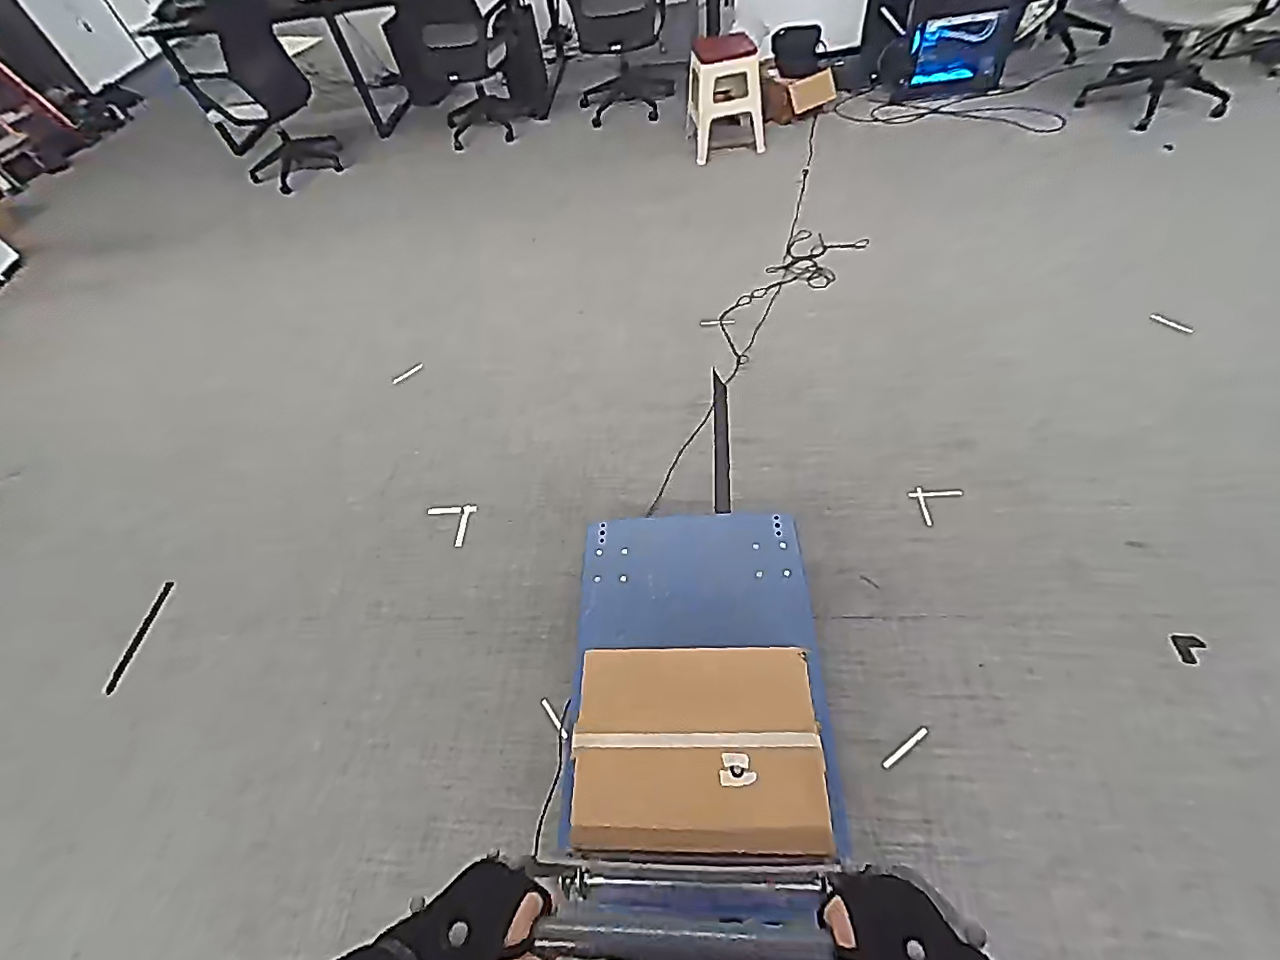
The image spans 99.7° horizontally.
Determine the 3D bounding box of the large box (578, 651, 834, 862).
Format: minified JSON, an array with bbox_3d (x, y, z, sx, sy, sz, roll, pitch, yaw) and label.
[{"bbox_3d":[0.112,0.537,1.037,0.408,0.320,0.320,-3,54,5],"label":"large box"}]
